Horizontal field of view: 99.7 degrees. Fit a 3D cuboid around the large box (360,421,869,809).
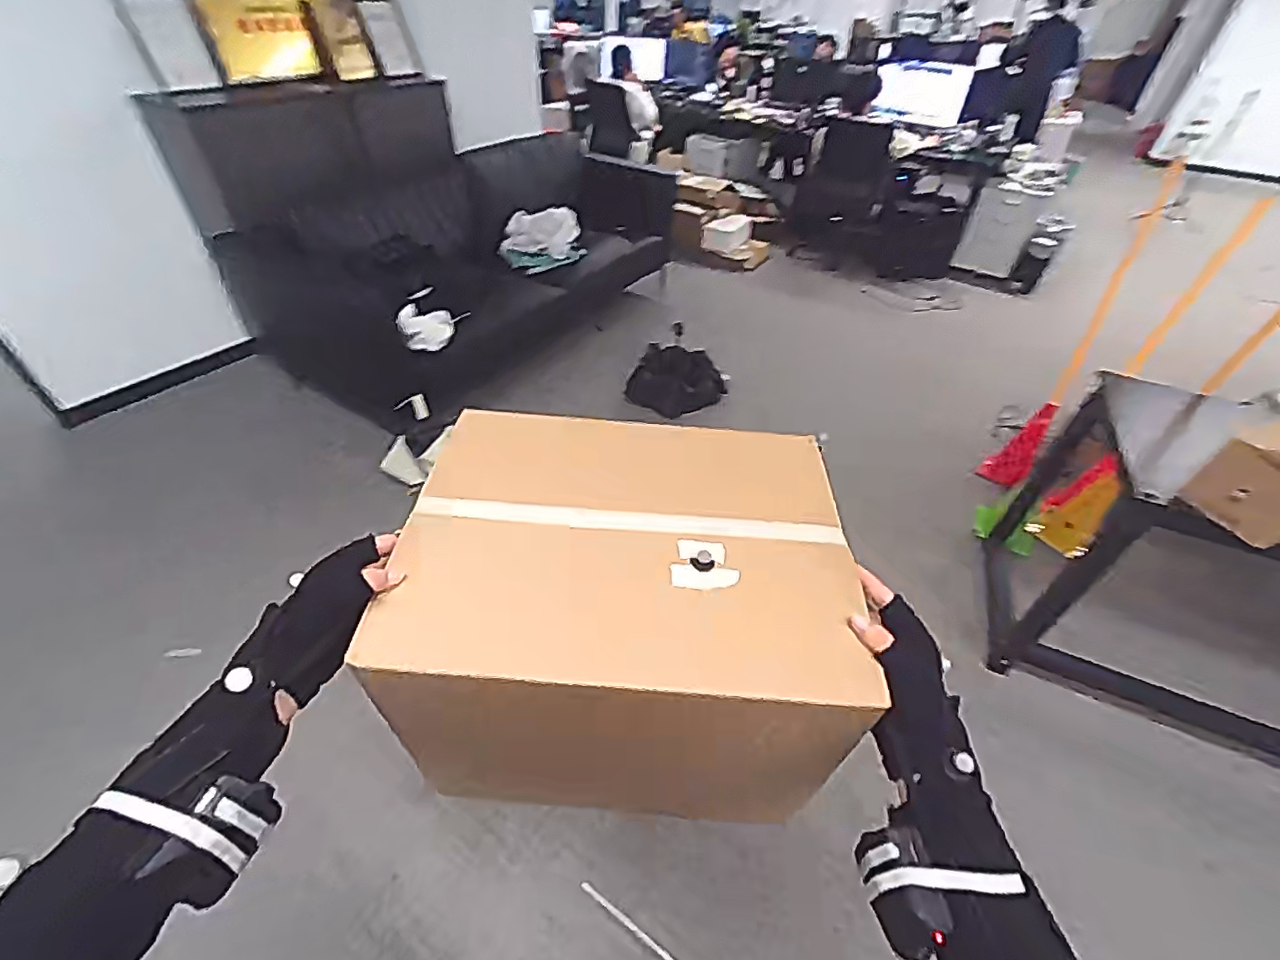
[{"bbox_3d":[-0.025,0.156,0.623,0.408,0.320,0.320,4,44,-1],"label":"large box"}]
